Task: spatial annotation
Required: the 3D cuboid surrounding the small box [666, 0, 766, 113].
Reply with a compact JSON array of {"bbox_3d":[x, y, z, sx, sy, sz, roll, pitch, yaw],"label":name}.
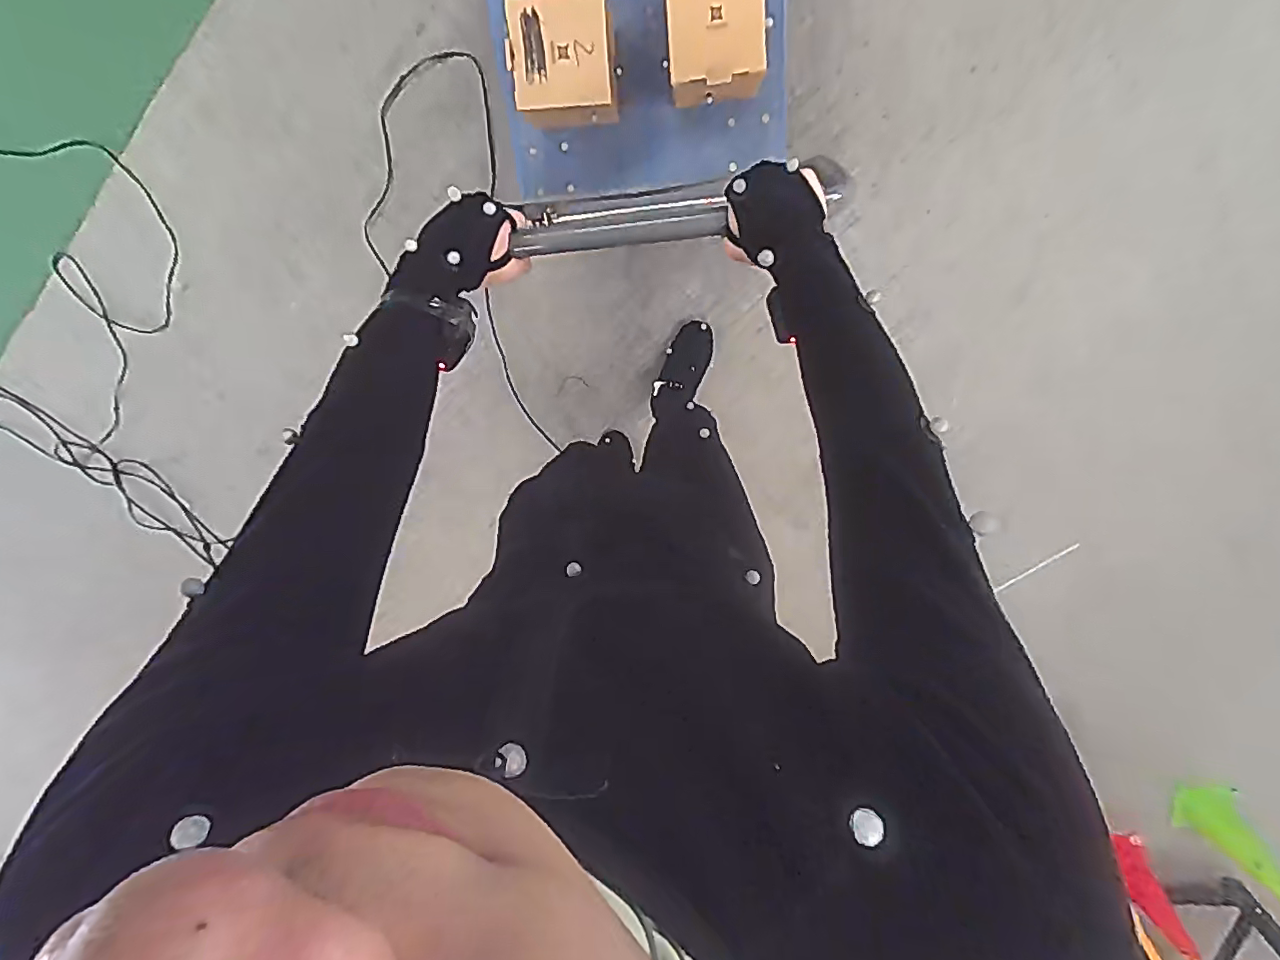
[{"bbox_3d":[0.135,-0.804,0.993,0.168,0.176,0.179,-4,113,6],"label":"small box"}]
